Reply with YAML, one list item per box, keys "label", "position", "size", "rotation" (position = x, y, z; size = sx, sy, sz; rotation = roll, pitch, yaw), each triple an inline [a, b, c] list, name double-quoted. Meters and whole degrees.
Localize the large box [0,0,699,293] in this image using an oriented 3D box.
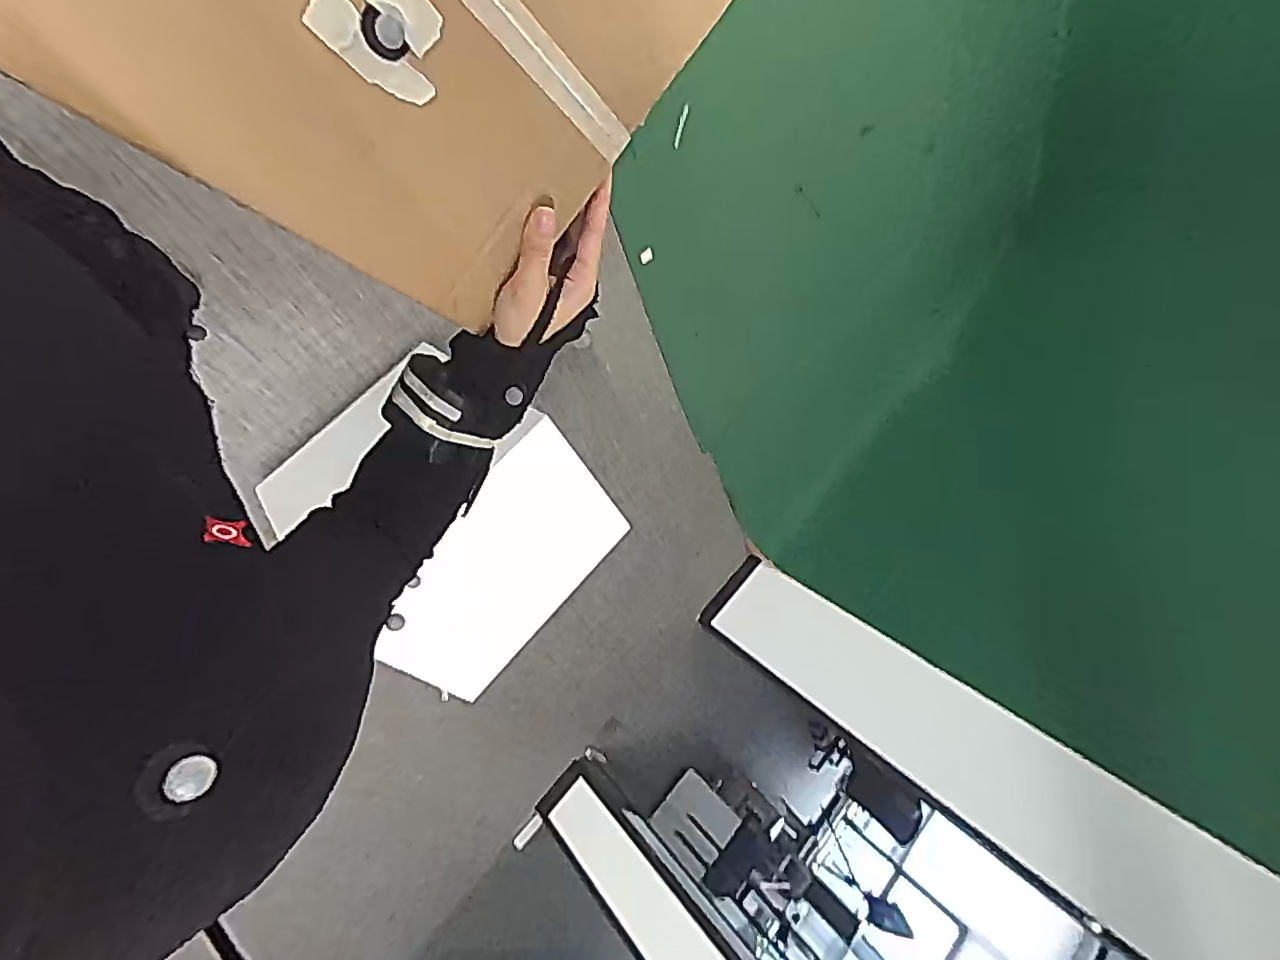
- label: "large box"
  position: [-0.205, -0.383, 0.278]
  size: [0.320, 0.320, 0.408]
  rotation: [-46, 146, 17]
